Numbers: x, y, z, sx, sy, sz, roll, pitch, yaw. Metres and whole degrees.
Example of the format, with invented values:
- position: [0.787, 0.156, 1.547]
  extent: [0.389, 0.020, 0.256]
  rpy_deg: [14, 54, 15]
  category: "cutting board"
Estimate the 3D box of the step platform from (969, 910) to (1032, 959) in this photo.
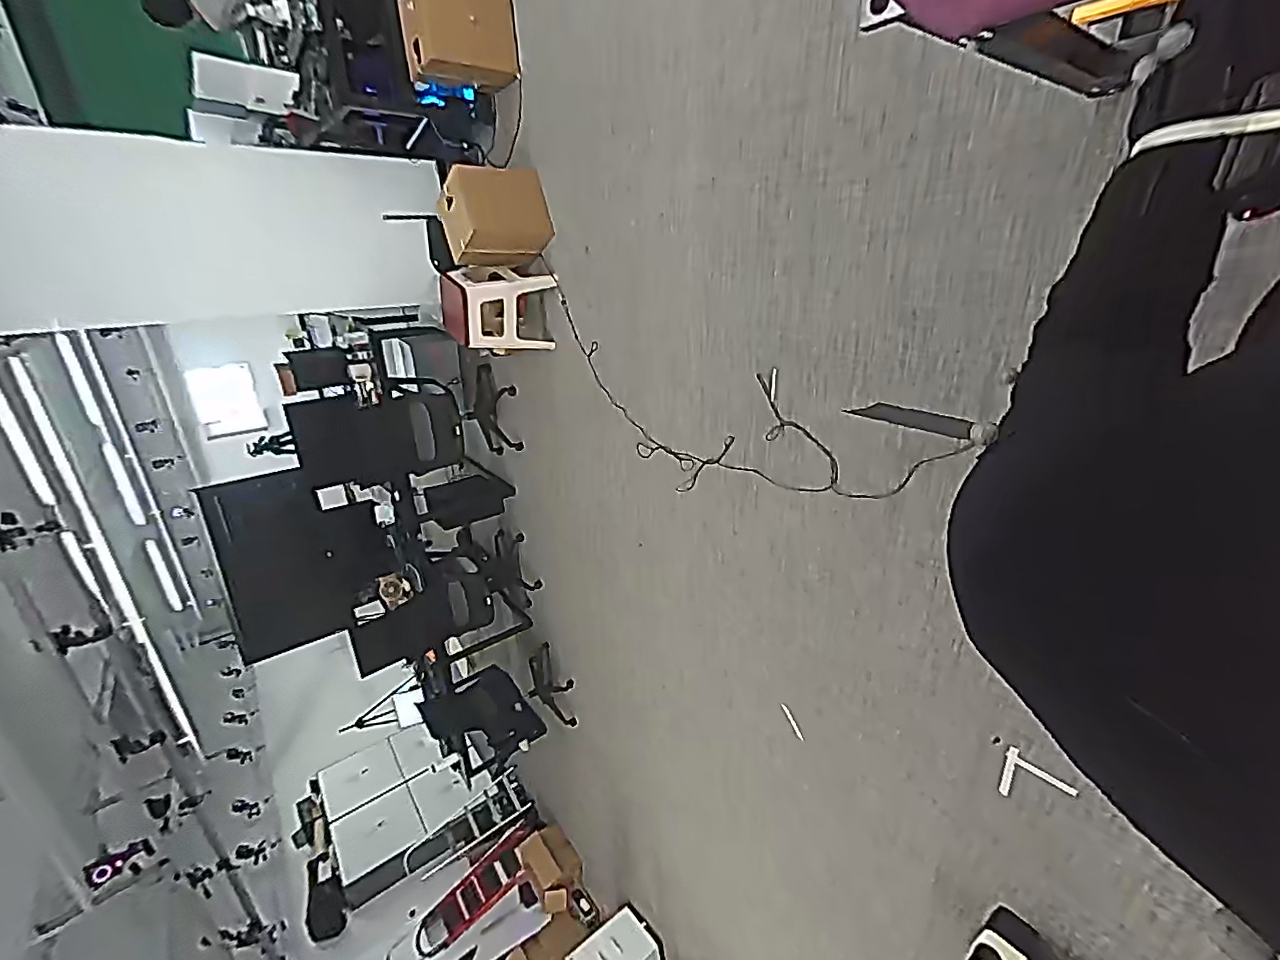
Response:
- position: [1.213, 1.520, 1.379]
  extent: [0.684, 0.204, 0.286]
  rpy_deg: [24, 125, 47]
  category: "step platform"
